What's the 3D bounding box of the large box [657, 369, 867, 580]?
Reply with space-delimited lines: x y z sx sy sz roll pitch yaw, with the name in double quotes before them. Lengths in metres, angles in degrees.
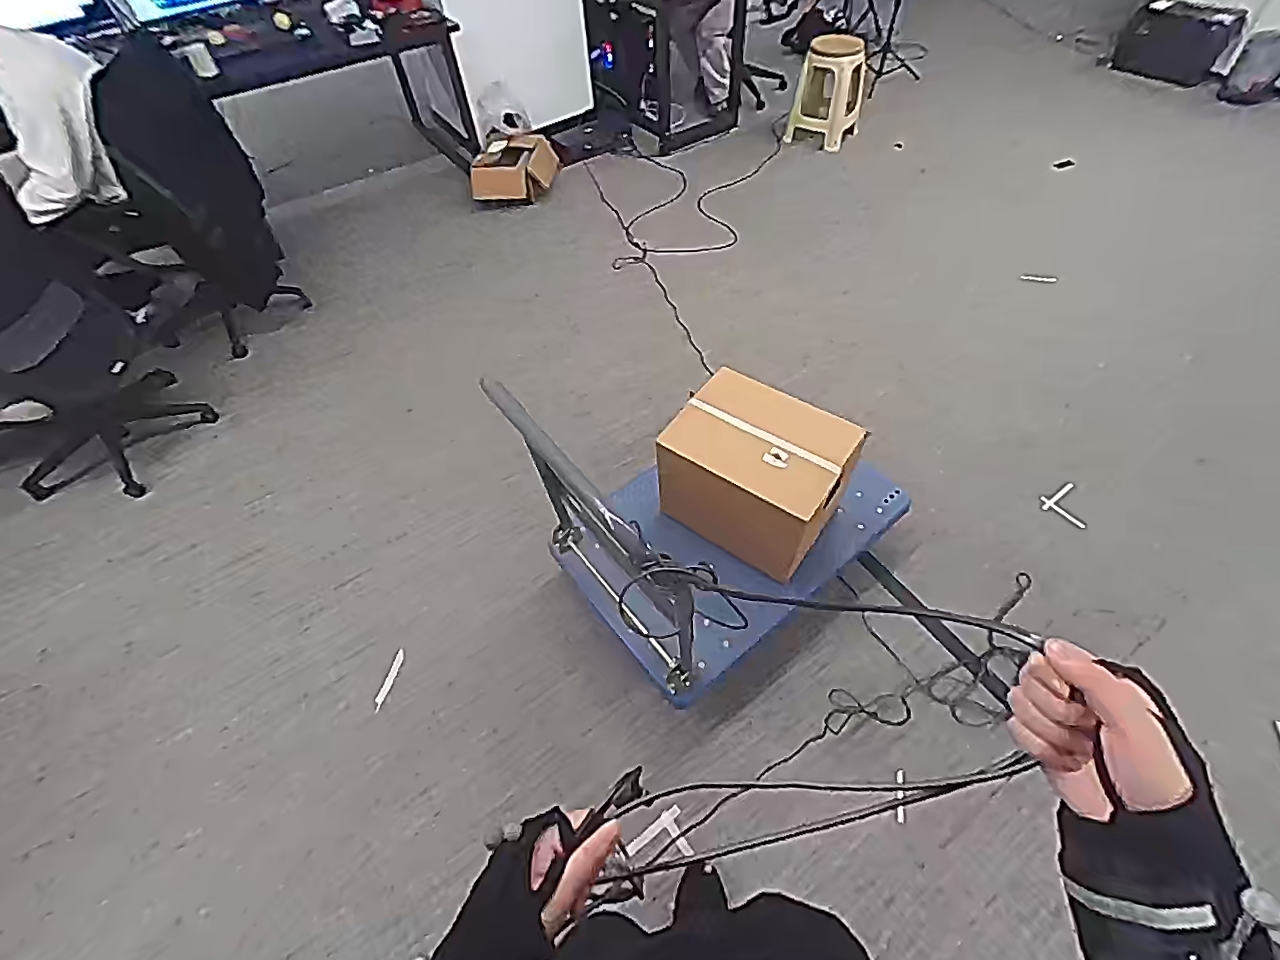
"large box" 0.291 -0.016 1.393 0.408 0.320 0.320 30 63 22
